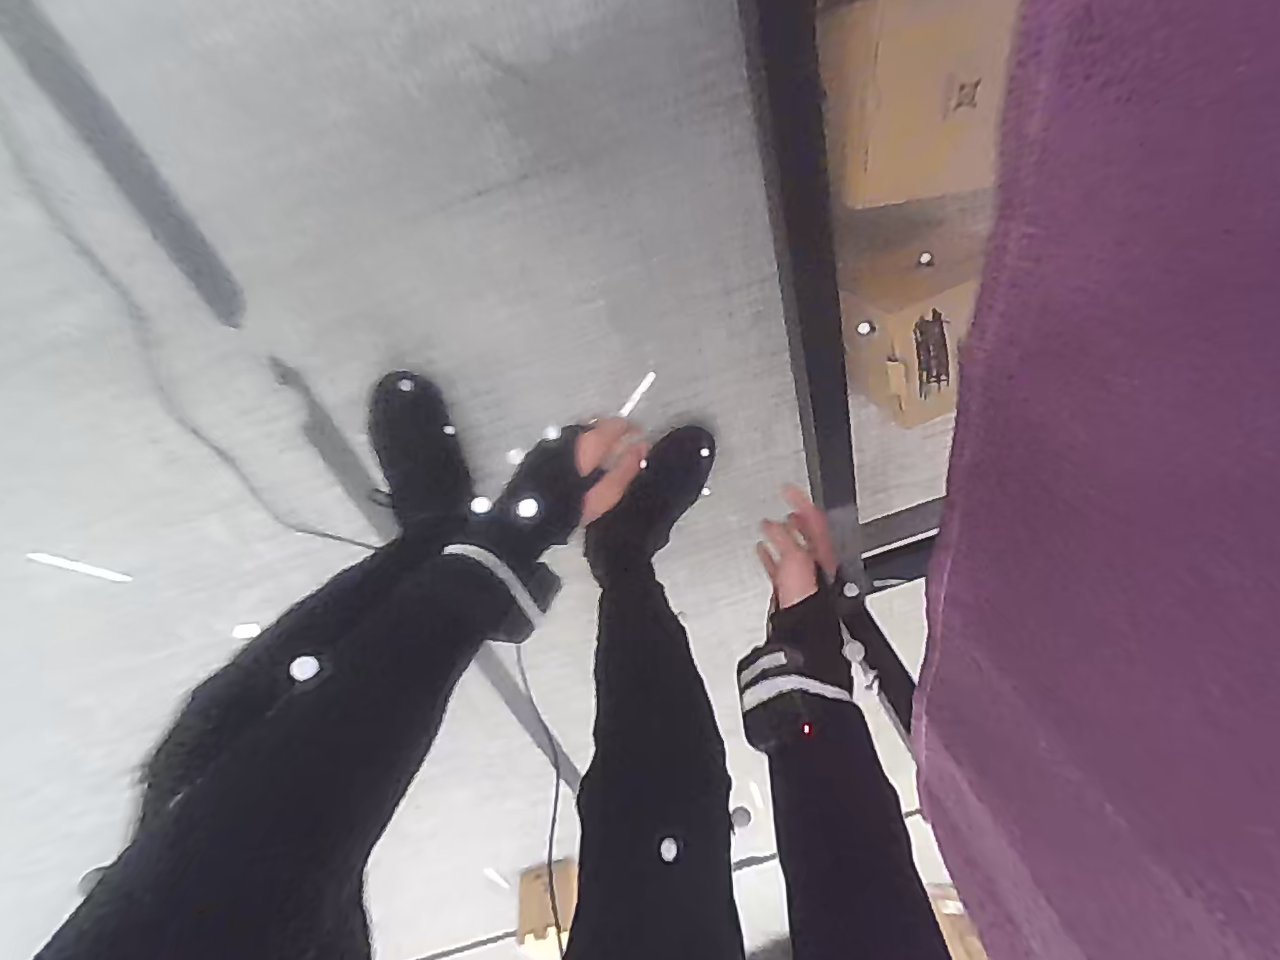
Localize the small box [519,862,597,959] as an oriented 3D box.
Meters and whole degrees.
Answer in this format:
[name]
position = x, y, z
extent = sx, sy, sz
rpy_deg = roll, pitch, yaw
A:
[small box]
position = -0.234, 1.246, 1.566
extent = 0.168, 0.176, 0.179
rpy_deg = -21, 123, 5
